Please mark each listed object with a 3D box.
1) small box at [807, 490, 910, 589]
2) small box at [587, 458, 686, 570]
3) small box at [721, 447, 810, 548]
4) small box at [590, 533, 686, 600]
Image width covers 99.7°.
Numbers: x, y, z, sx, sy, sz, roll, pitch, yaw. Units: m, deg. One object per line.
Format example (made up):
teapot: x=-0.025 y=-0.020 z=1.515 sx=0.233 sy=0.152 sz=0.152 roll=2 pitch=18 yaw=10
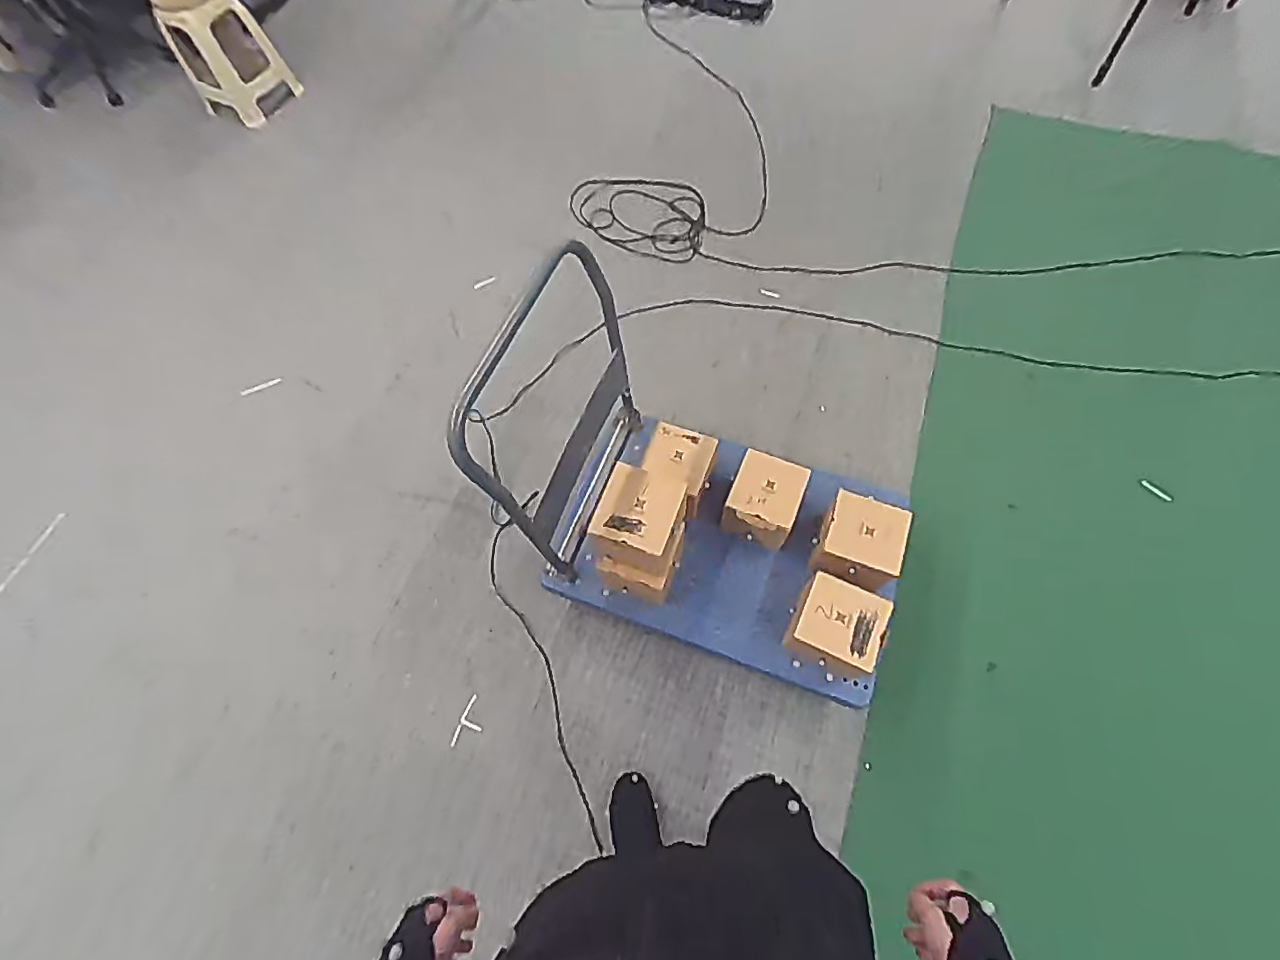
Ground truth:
small box: x=0.530 y=0.153 z=1.334 sx=0.179 sy=0.176 sz=0.168 roll=20 pitch=68 yaw=12
small box: x=-0.001 y=0.083 z=1.209 sx=0.168 sy=0.176 sz=0.179 roll=18 pitch=67 yaw=10
small box: x=0.315 y=0.049 z=1.391 sx=0.168 sy=0.176 sz=0.179 roll=22 pitch=68 yaw=13
small box: x=-0.002 y=0.176 z=1.356 sx=0.168 sy=0.176 sz=0.179 roll=-37 pitch=68 yaw=-12
